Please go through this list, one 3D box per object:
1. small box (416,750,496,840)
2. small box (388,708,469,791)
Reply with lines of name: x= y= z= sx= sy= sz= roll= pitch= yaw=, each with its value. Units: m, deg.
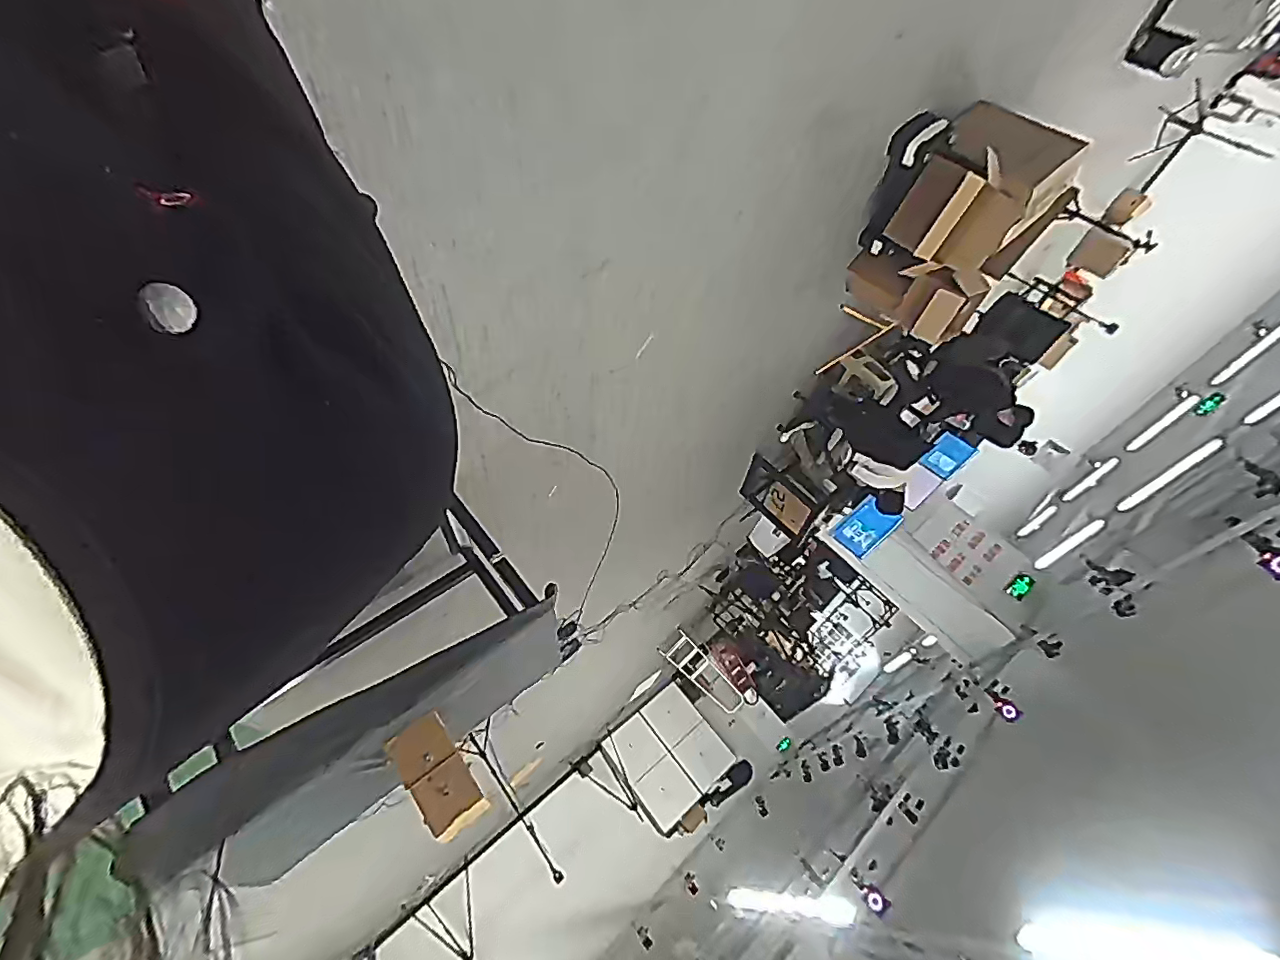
small box: x=-0.575 y=0.981 z=1.692 sx=0.168 sy=0.176 sz=0.179 roll=-31 pitch=152 yaw=-28
small box: x=-0.684 y=0.879 z=1.760 sx=0.179 sy=0.176 sz=0.168 roll=-31 pitch=151 yaw=-27
